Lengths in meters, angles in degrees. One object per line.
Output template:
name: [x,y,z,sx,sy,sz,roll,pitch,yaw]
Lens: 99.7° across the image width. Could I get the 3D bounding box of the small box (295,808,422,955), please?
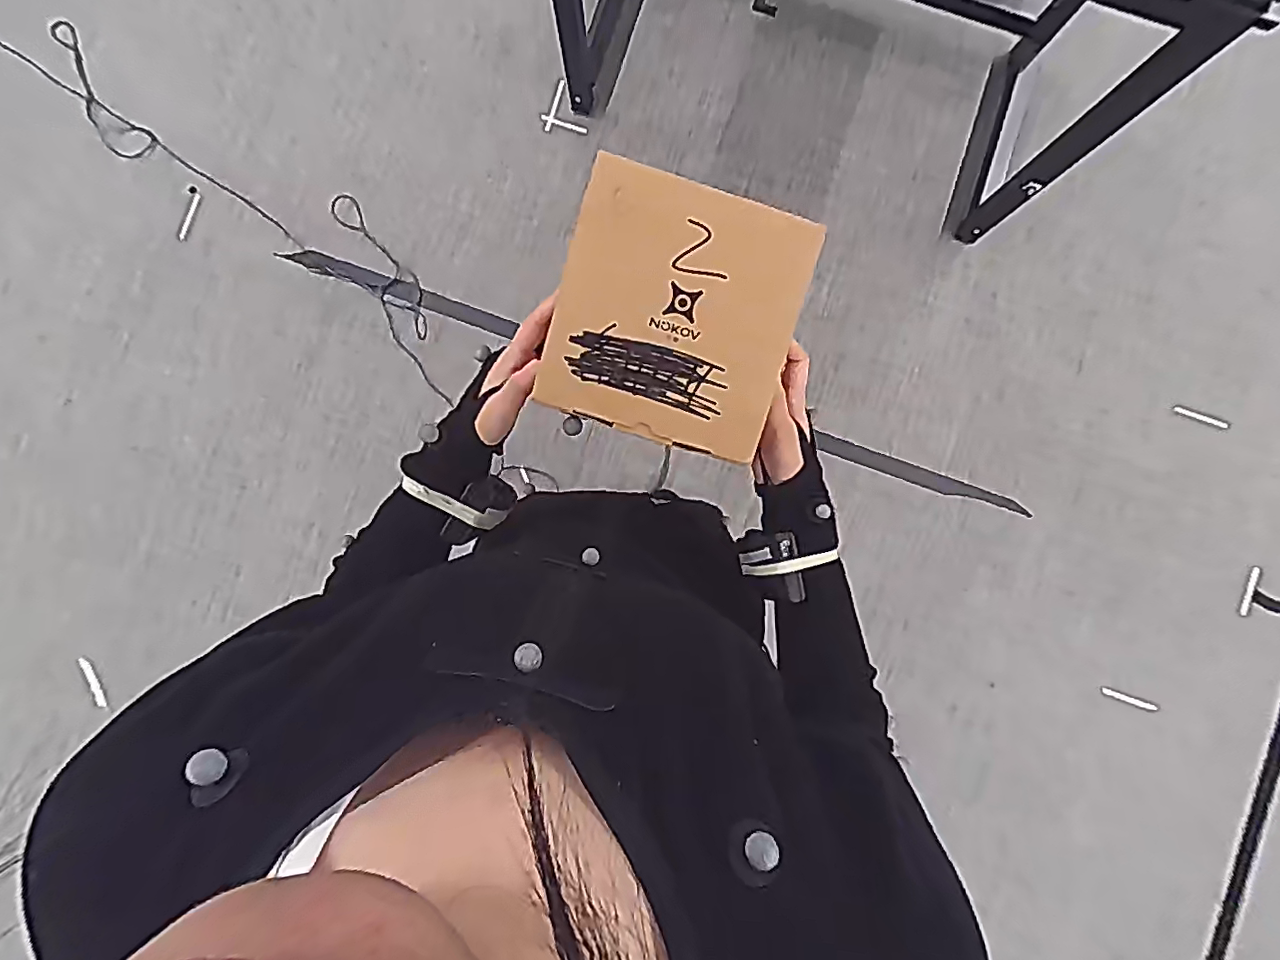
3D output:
small box: [-0.623,0.895,1.221,0.168,0.176,0.179,22,87,1]
